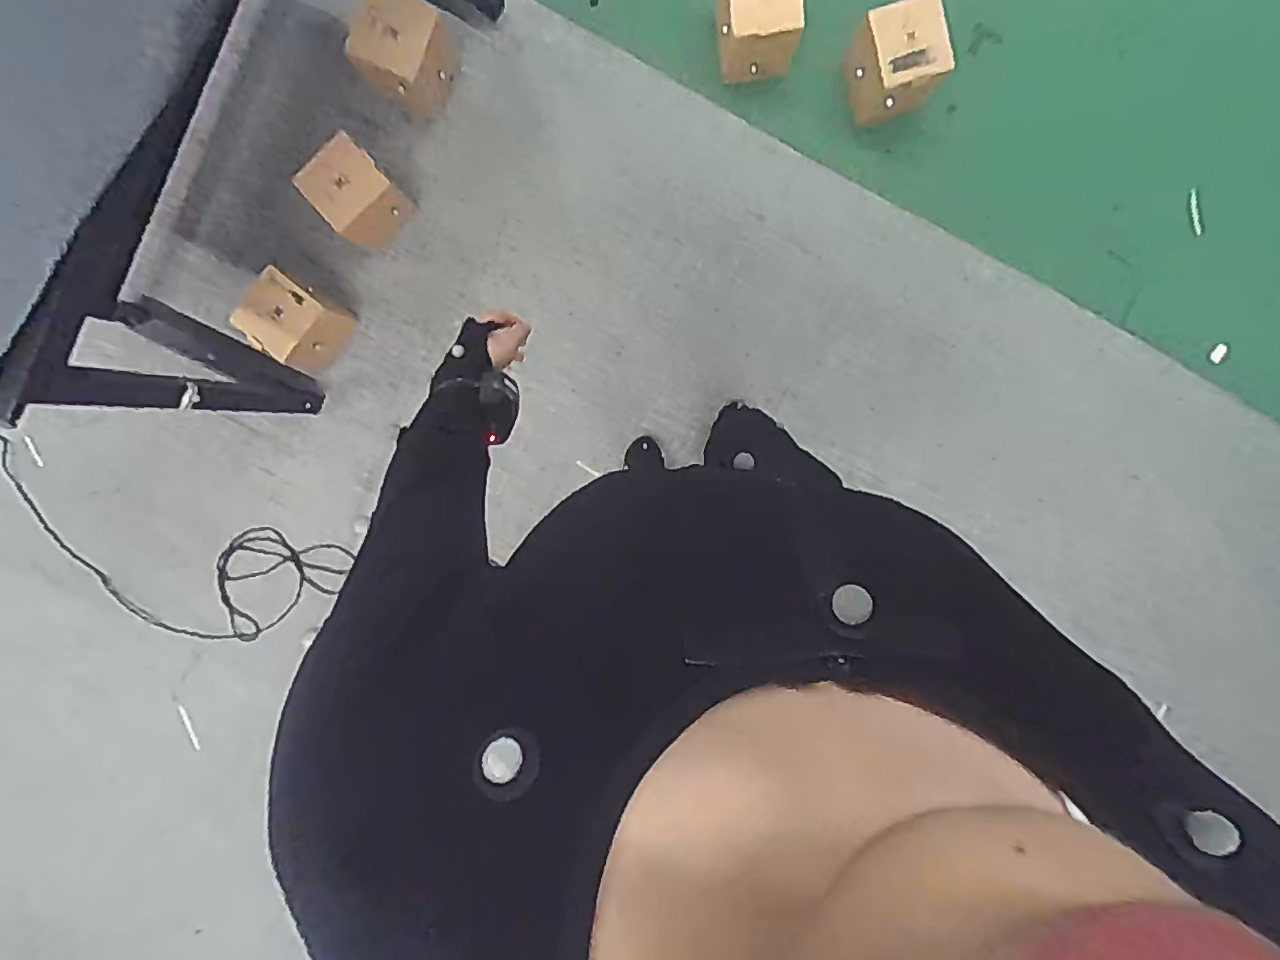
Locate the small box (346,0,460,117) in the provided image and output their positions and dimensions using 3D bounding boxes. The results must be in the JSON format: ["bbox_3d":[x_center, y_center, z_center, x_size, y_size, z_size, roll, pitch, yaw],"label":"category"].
[{"bbox_3d":[-0.562,-1.025,1.306,0.179,0.176,0.168,22,95,-2],"label":"small box"}]

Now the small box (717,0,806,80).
[{"bbox_3d":[0.284,-1.109,1.293,0.168,0.176,0.179,-8,96,1],"label":"small box"}]

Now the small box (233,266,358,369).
[{"bbox_3d":[-0.863,-0.402,1.374,0.168,0.176,0.179,39,96,-3],"label":"small box"}]

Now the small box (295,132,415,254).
[{"bbox_3d":[-0.690,-0.701,1.342,0.179,0.176,0.168,-42,93,6],"label":"small box"}]
